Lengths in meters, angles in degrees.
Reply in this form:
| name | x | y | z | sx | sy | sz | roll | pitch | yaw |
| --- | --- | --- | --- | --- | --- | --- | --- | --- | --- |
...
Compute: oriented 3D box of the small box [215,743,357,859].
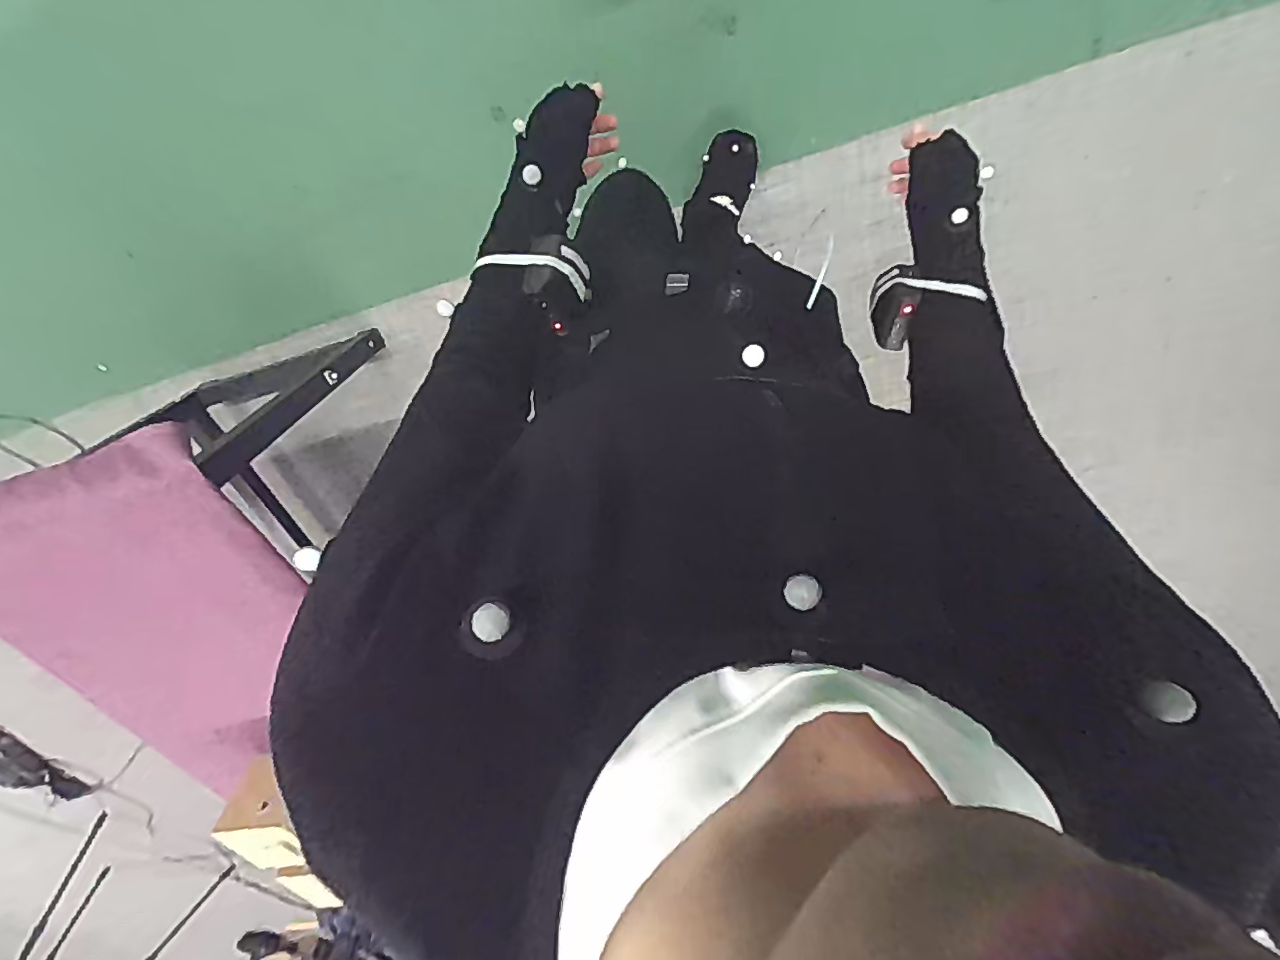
| name | x | y | z | sx | sy | sz | roll | pitch | yaw |
| --- | --- | --- | --- | --- | --- | --- | --- | --- | --- |
| small box | -0.763 | 0.705 | 1.196 | 0.179 | 0.176 | 0.168 | -11 | 122 | 11 |
